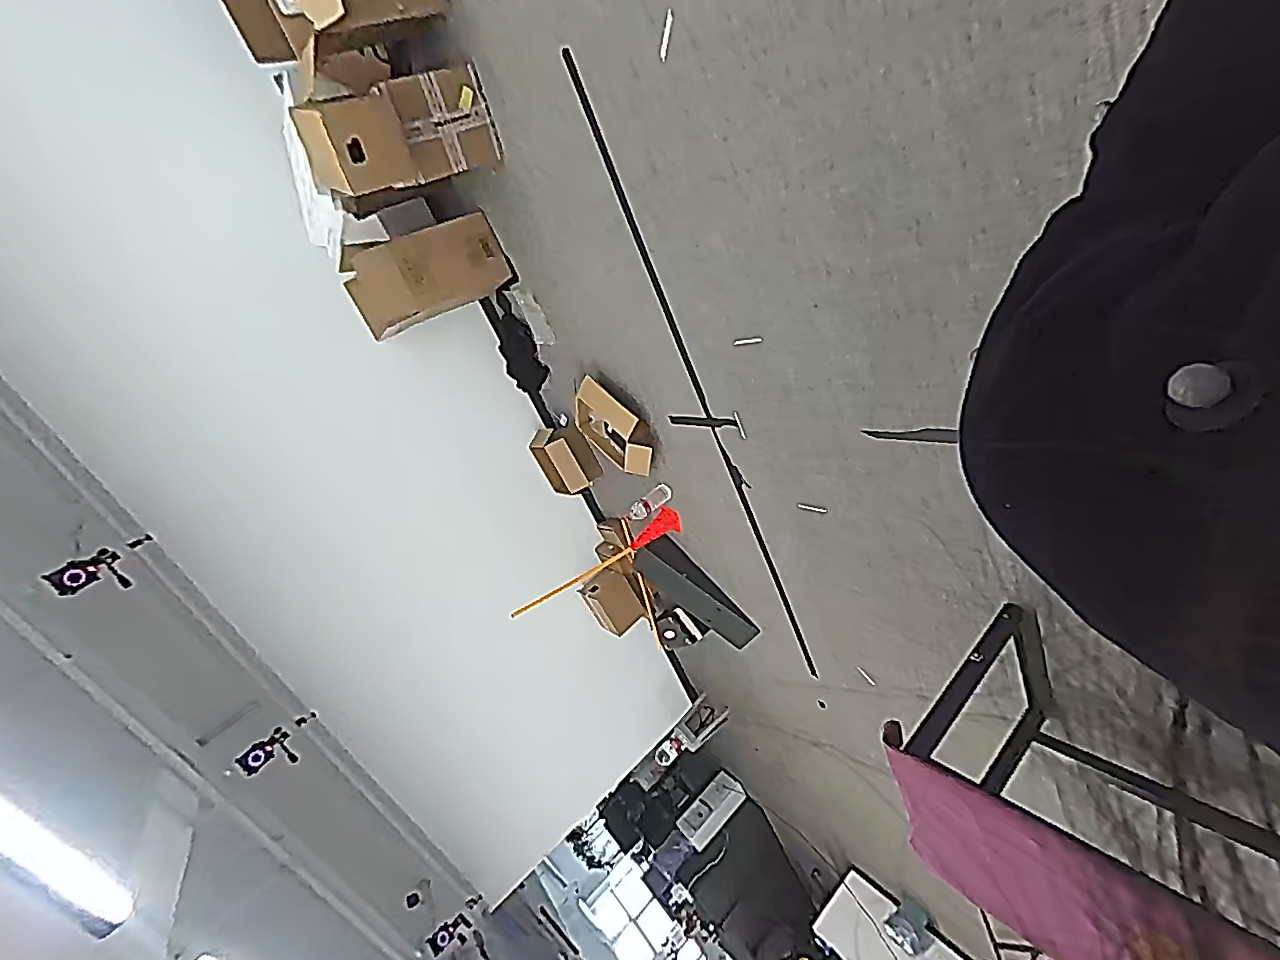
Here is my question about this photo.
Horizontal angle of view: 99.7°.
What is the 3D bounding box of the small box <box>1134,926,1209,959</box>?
[{"bbox_3d":[1.091,1.058,1.075,0.168,0.176,0.179,14,135,54],"label":"small box"}]
